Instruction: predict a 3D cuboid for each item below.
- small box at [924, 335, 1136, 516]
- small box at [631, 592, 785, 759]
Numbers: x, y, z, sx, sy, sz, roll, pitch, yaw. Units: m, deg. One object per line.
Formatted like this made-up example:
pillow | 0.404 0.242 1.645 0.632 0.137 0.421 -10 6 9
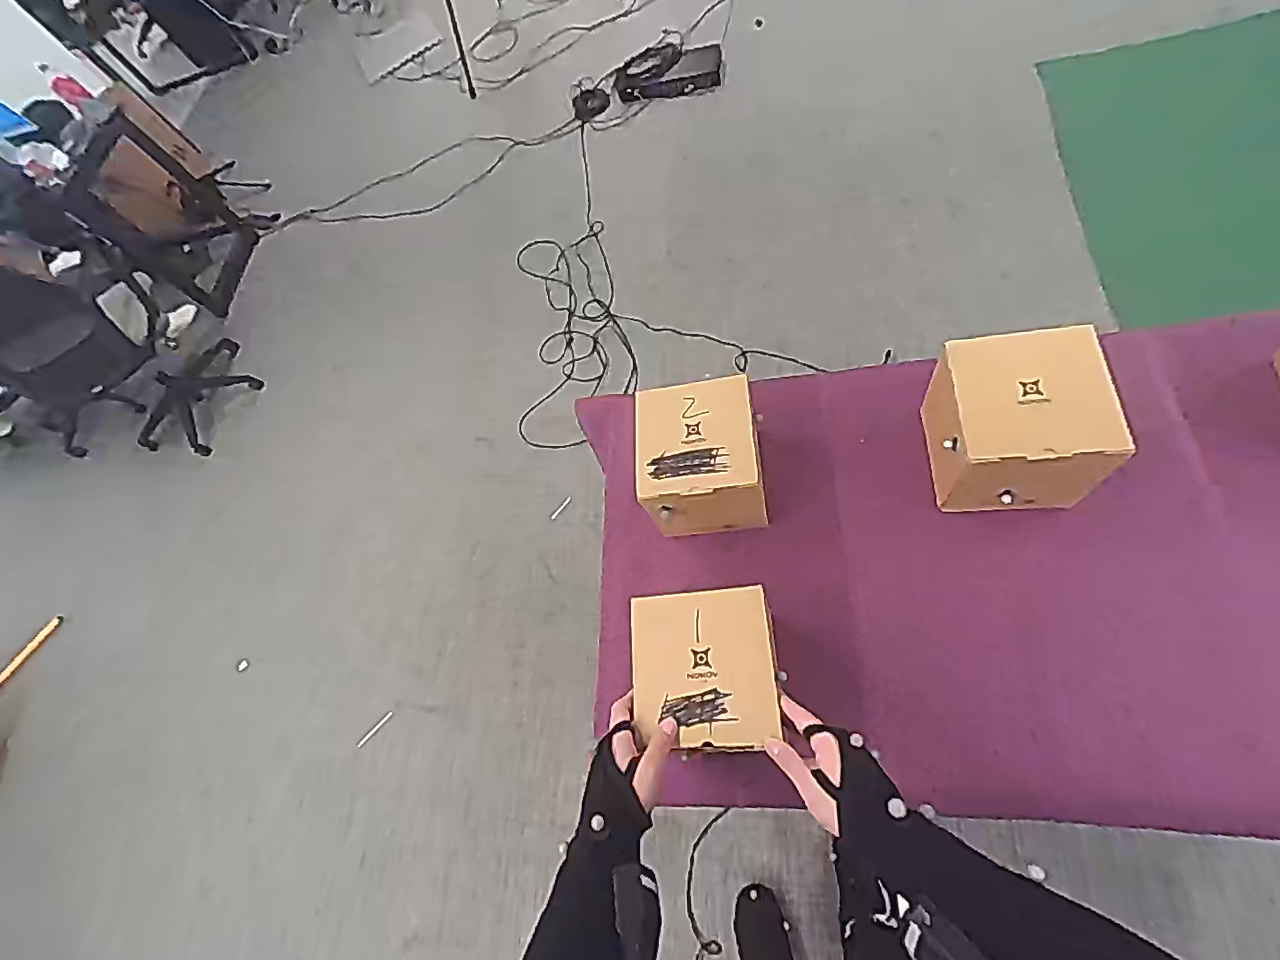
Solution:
small box | 0.490 -0.063 0.715 0.168 0.176 0.179 -3 66 15
small box | 0.089 0.253 0.686 0.168 0.176 0.179 -8 62 13
